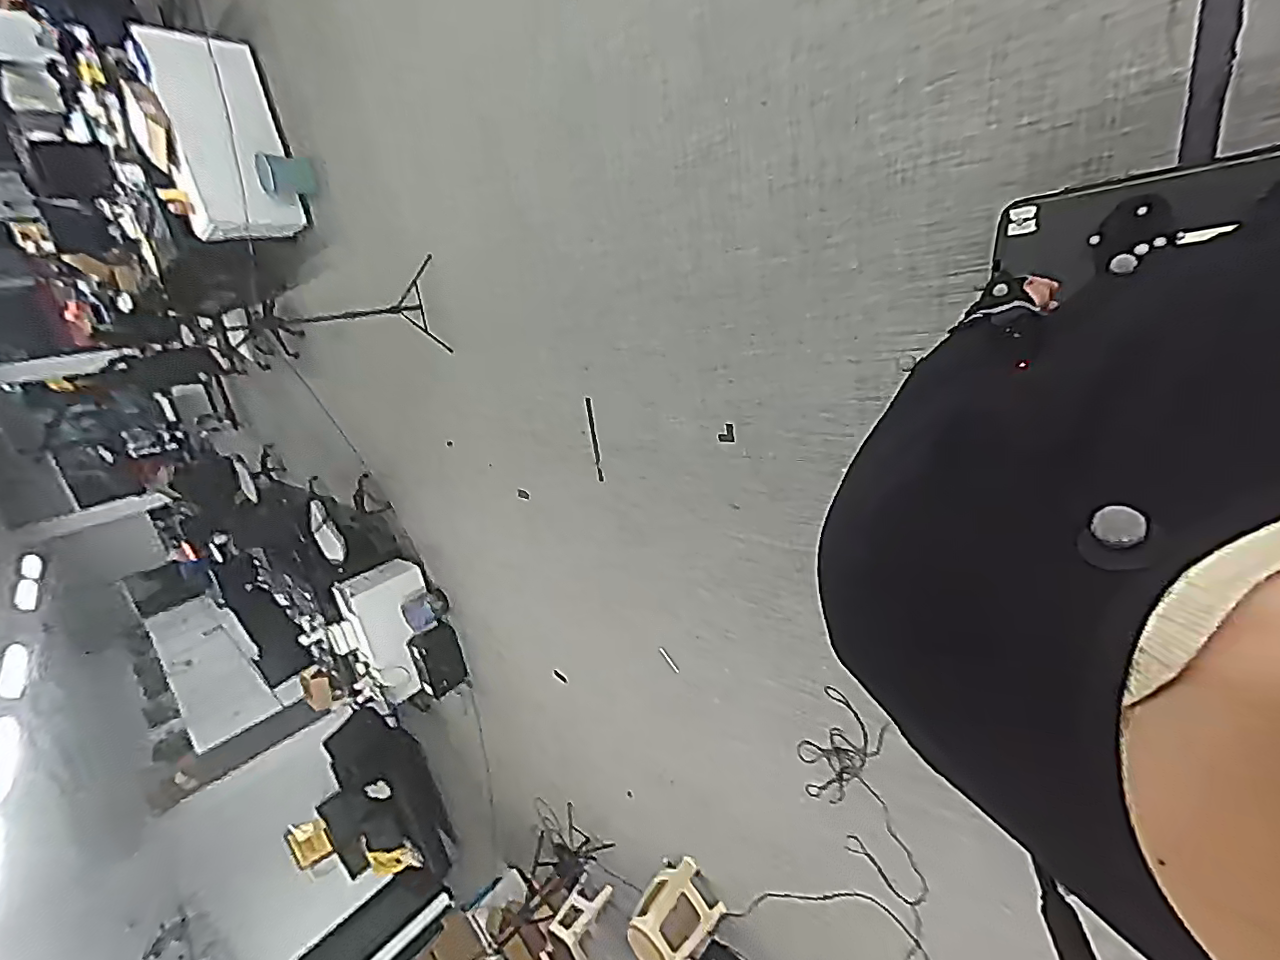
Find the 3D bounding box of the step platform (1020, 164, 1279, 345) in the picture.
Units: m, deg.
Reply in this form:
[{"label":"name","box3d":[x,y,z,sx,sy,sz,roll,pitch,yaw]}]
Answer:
[{"label":"step platform","box3d":[1.080,-0.391,0.943,0.684,0.204,0.286,13,117,40]}]
